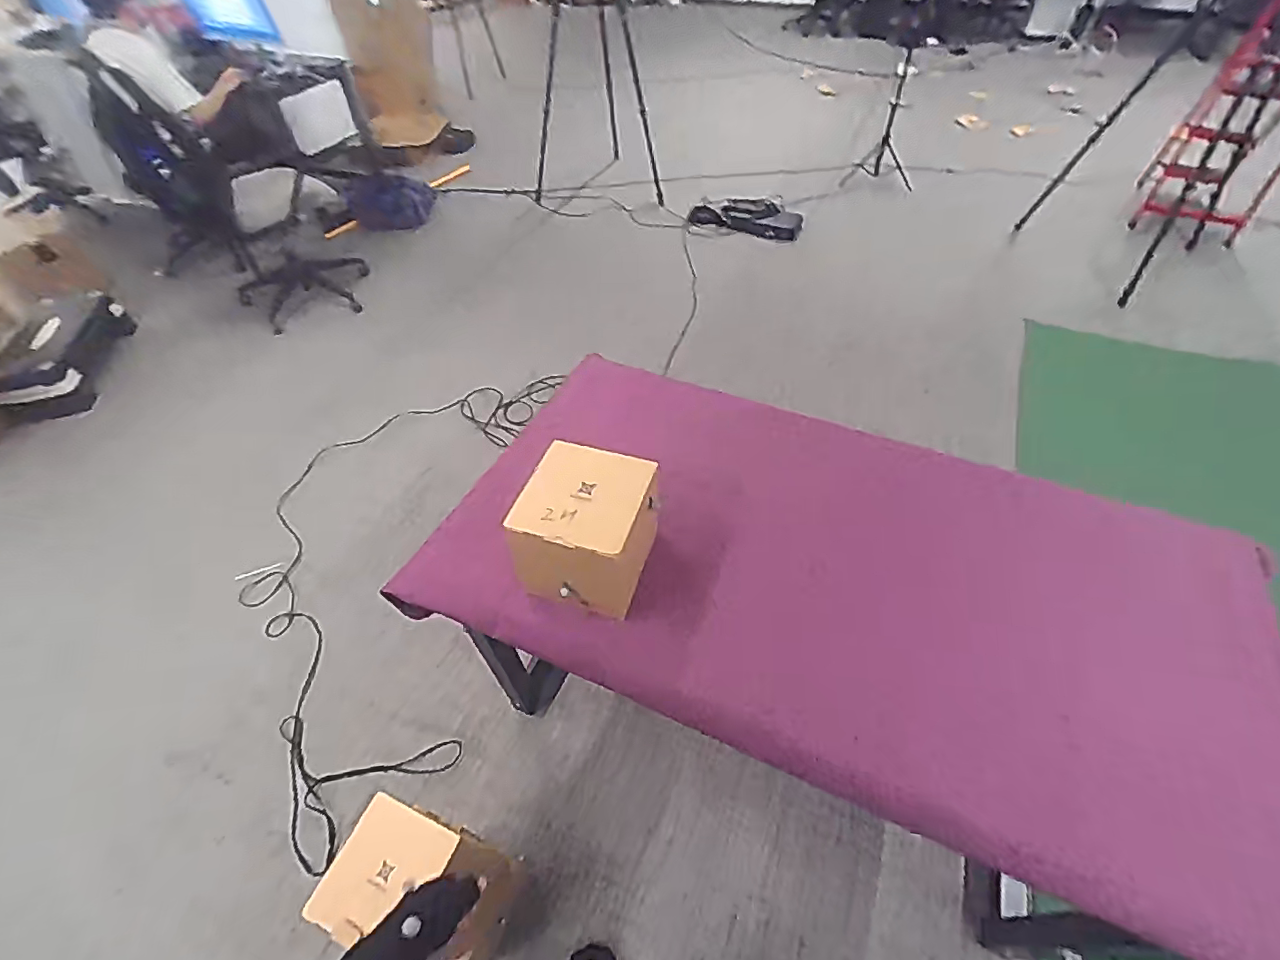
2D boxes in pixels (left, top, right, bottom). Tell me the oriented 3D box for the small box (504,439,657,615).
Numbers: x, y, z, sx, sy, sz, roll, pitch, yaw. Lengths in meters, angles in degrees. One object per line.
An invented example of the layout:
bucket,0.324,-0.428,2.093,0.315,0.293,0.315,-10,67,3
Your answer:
small box,-0.080,0.071,0.814,0.168,0.176,0.179,14,50,13

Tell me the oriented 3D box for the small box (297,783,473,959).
small box,-0.392,0.628,0.874,0.168,0.176,0.179,18,55,16
